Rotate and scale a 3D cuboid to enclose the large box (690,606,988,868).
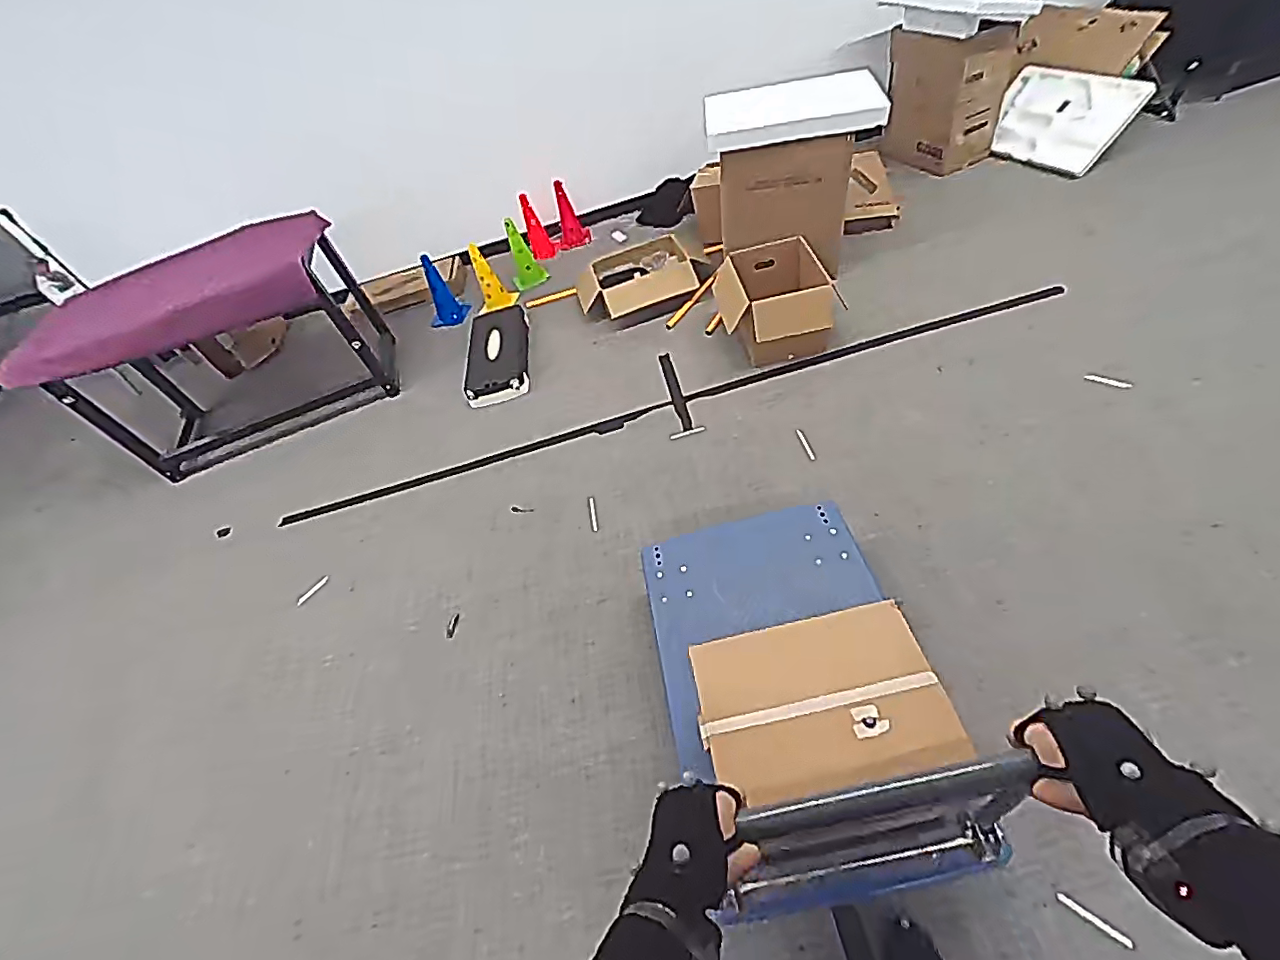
[{"bbox_3d":[0.336,0.491,1.022,0.408,0.320,0.320,-14,48,3],"label":"large box"}]
